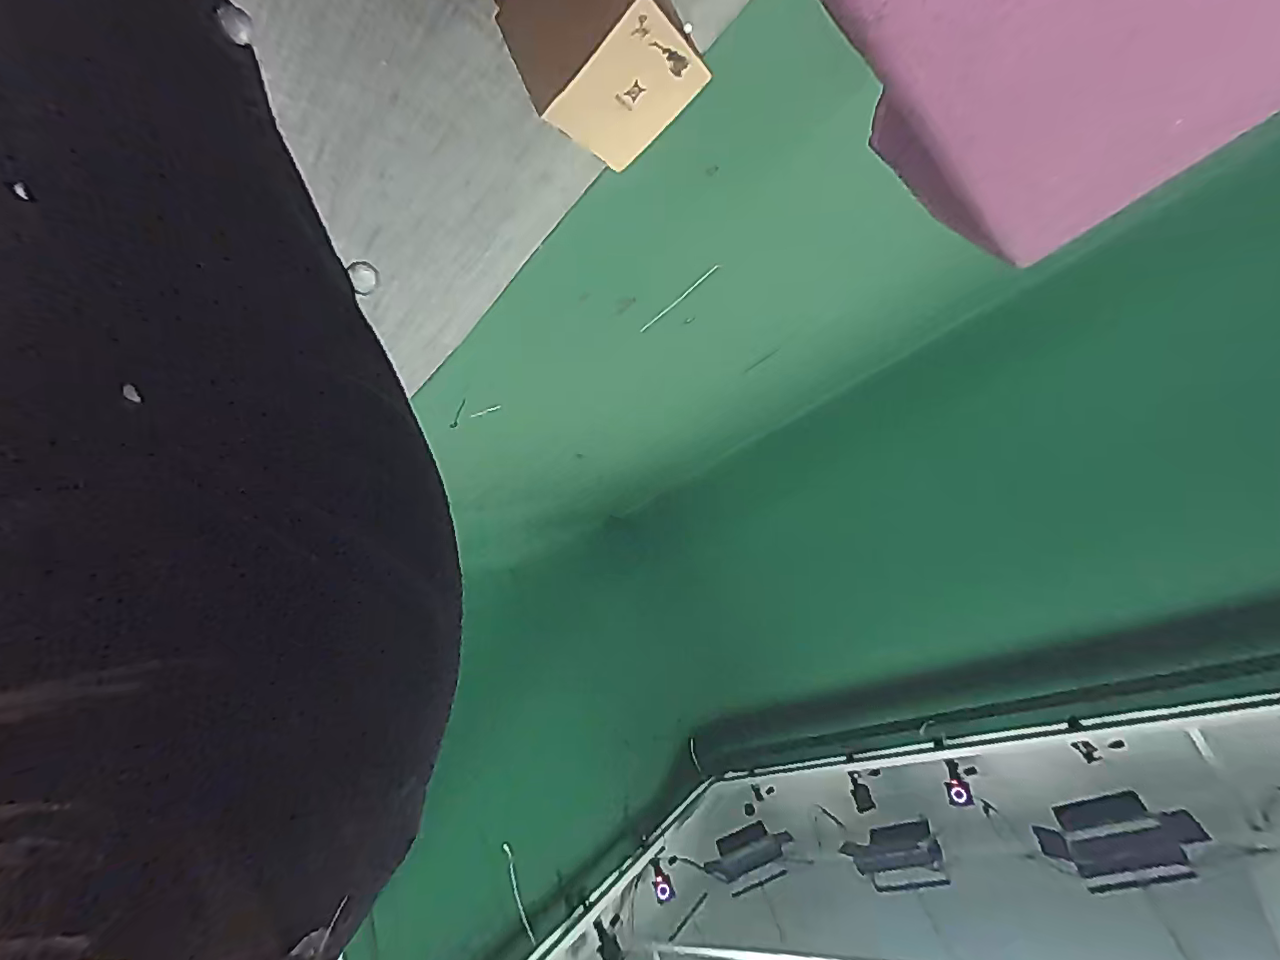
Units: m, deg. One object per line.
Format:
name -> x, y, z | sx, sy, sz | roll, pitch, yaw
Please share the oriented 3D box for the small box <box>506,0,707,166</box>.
small box -> -0.049, -0.559, 0.688 | 0.179, 0.176, 0.168 | -29, 167, 31
